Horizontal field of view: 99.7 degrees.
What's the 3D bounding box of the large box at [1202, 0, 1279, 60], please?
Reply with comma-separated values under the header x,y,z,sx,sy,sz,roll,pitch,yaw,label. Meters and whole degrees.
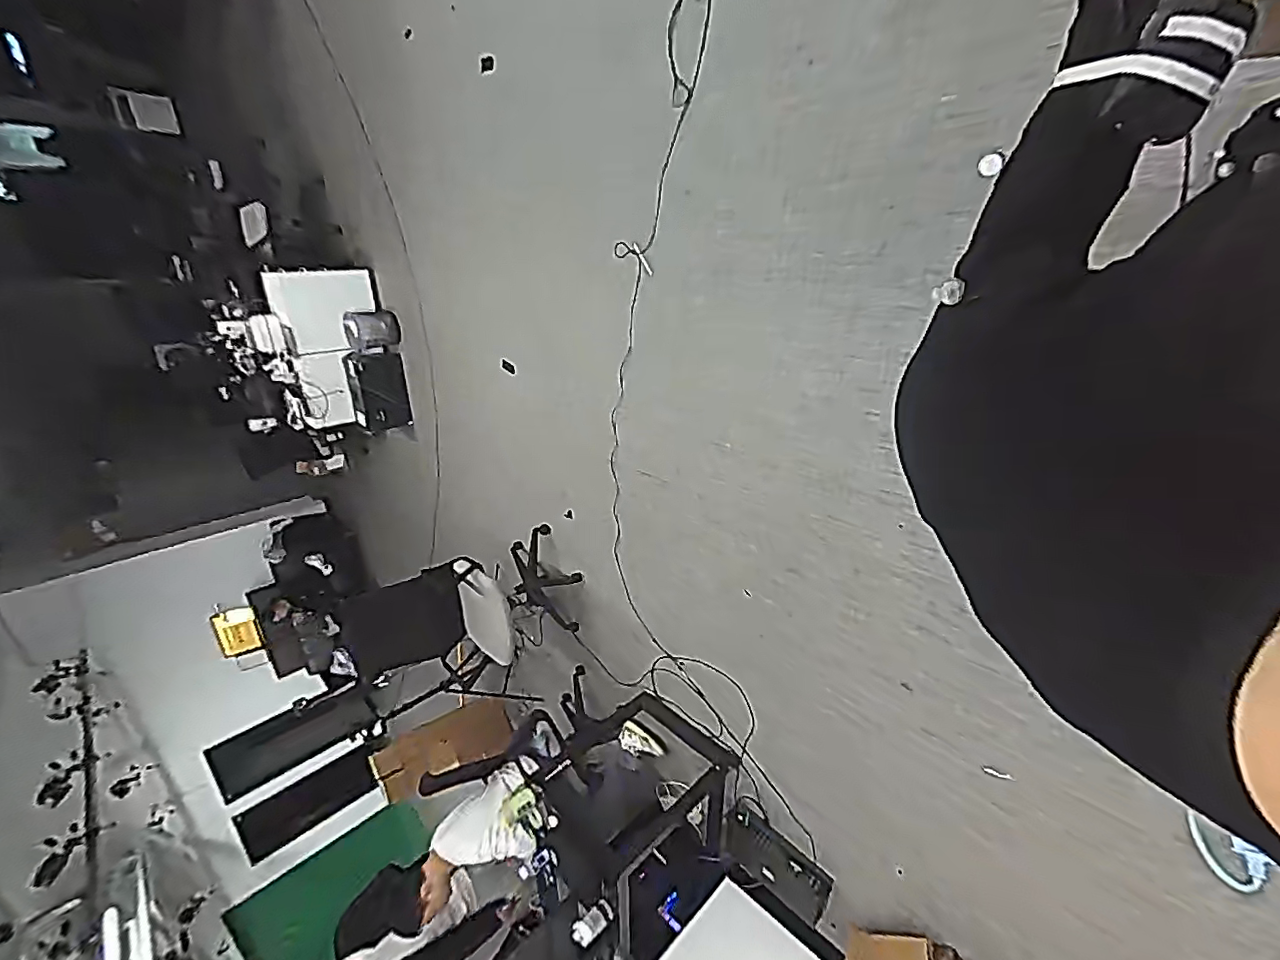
x,y,z,sx,sy,sz,roll,pitch,yaw,label
0.593,-0.441,0.249,0.408,0.320,0.320,22,127,39,large box
